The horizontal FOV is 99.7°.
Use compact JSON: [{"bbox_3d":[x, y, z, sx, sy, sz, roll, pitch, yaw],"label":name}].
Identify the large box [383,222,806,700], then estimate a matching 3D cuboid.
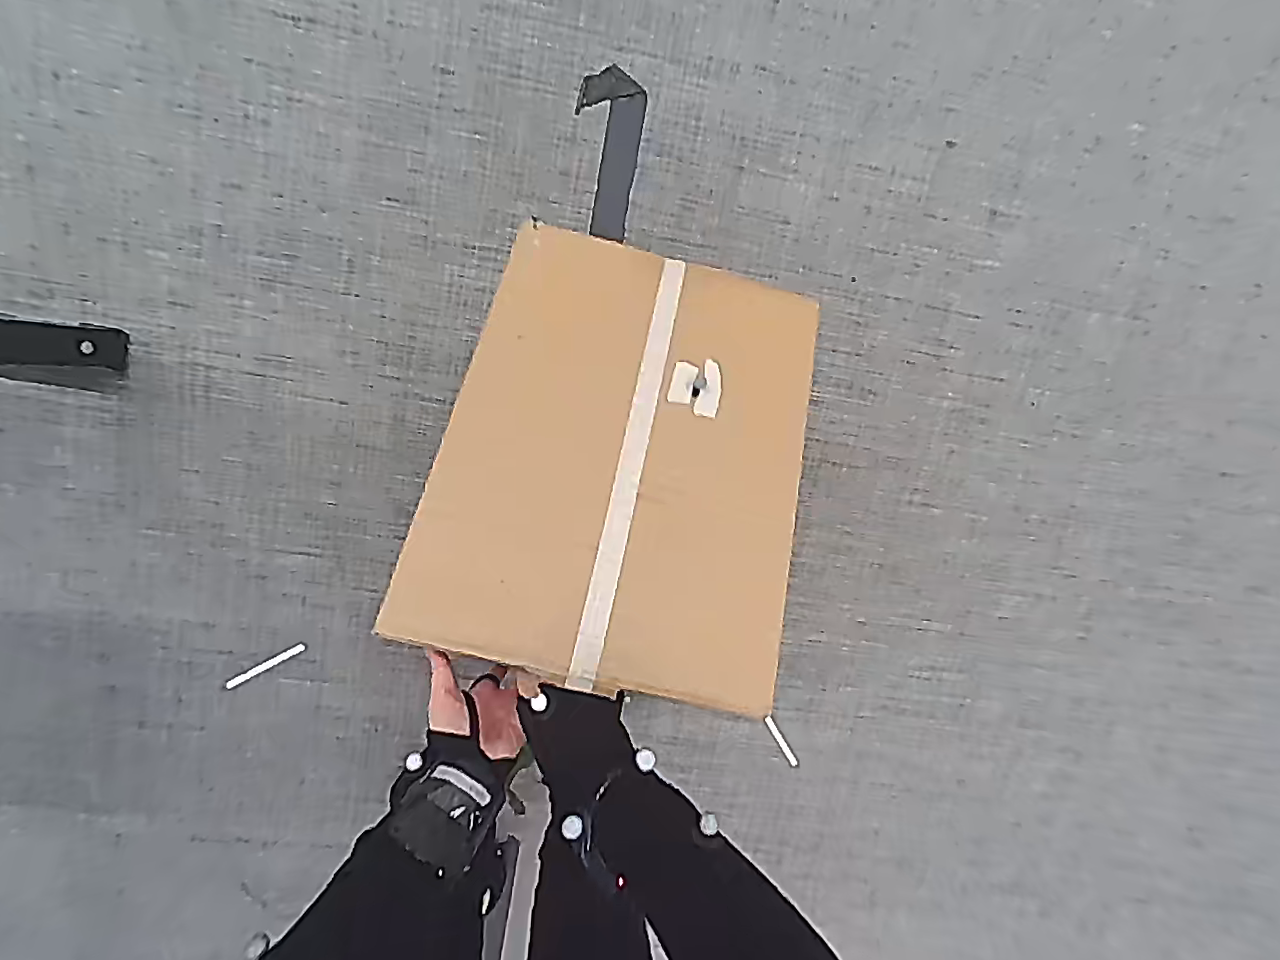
[{"bbox_3d":[-0.033,0.008,0.618,0.320,0.320,0.408,14,70,-6],"label":"large box"}]
